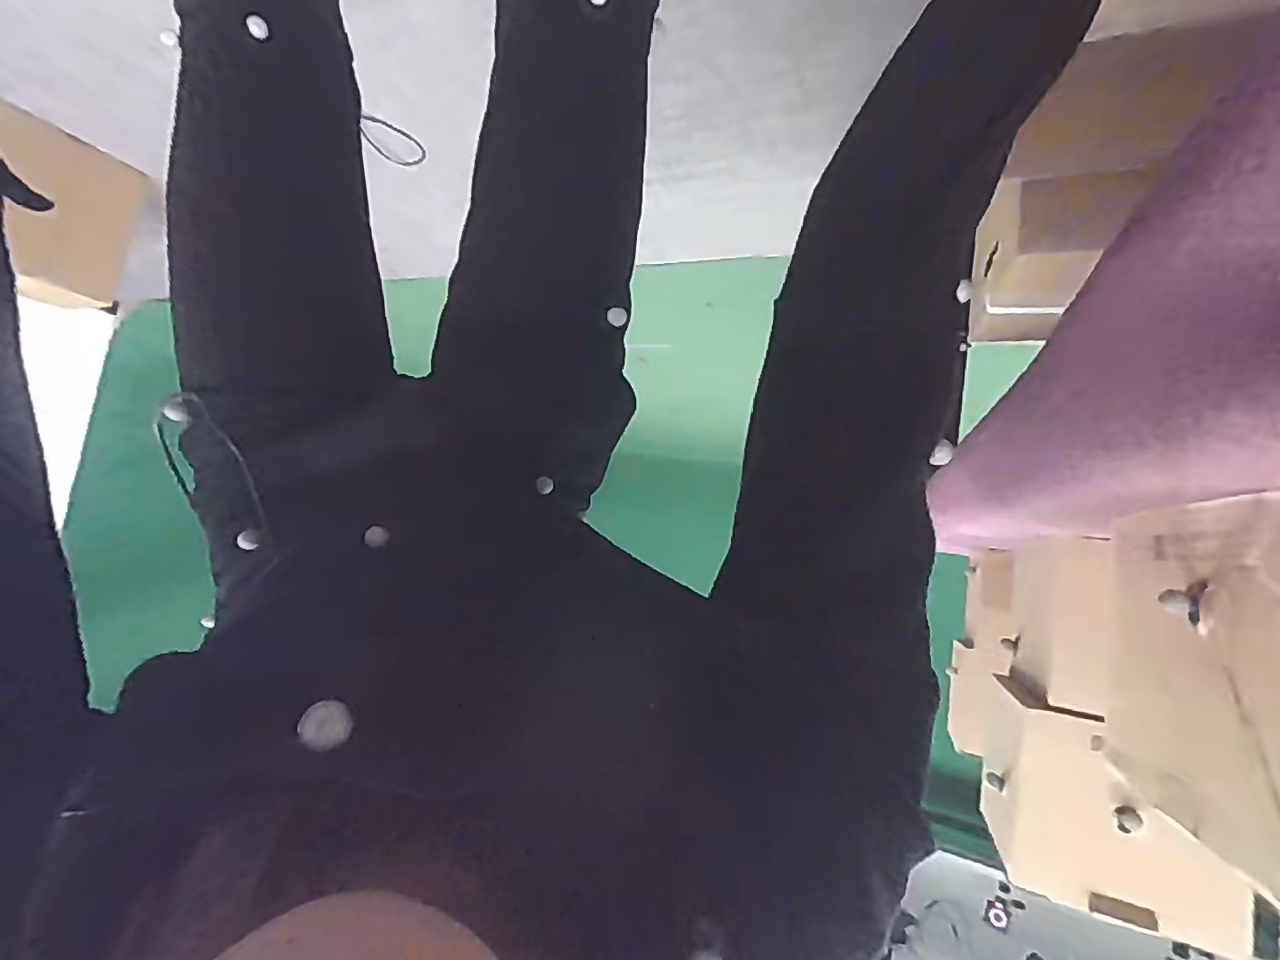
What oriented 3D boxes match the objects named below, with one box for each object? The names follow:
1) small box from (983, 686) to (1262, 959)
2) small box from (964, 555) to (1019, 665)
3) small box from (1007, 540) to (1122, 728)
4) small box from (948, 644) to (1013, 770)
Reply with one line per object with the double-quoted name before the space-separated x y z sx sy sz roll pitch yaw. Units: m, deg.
"small box" 0.459 0.318 0.543 0.168 0.176 0.179 6 173 25
"small box" 0.648 0.216 0.888 0.179 0.176 0.168 5 172 25
"small box" 0.500 0.159 0.558 0.168 0.176 0.179 5 173 24
"small box" 0.620 0.379 0.889 0.179 0.176 0.168 5 171 25
